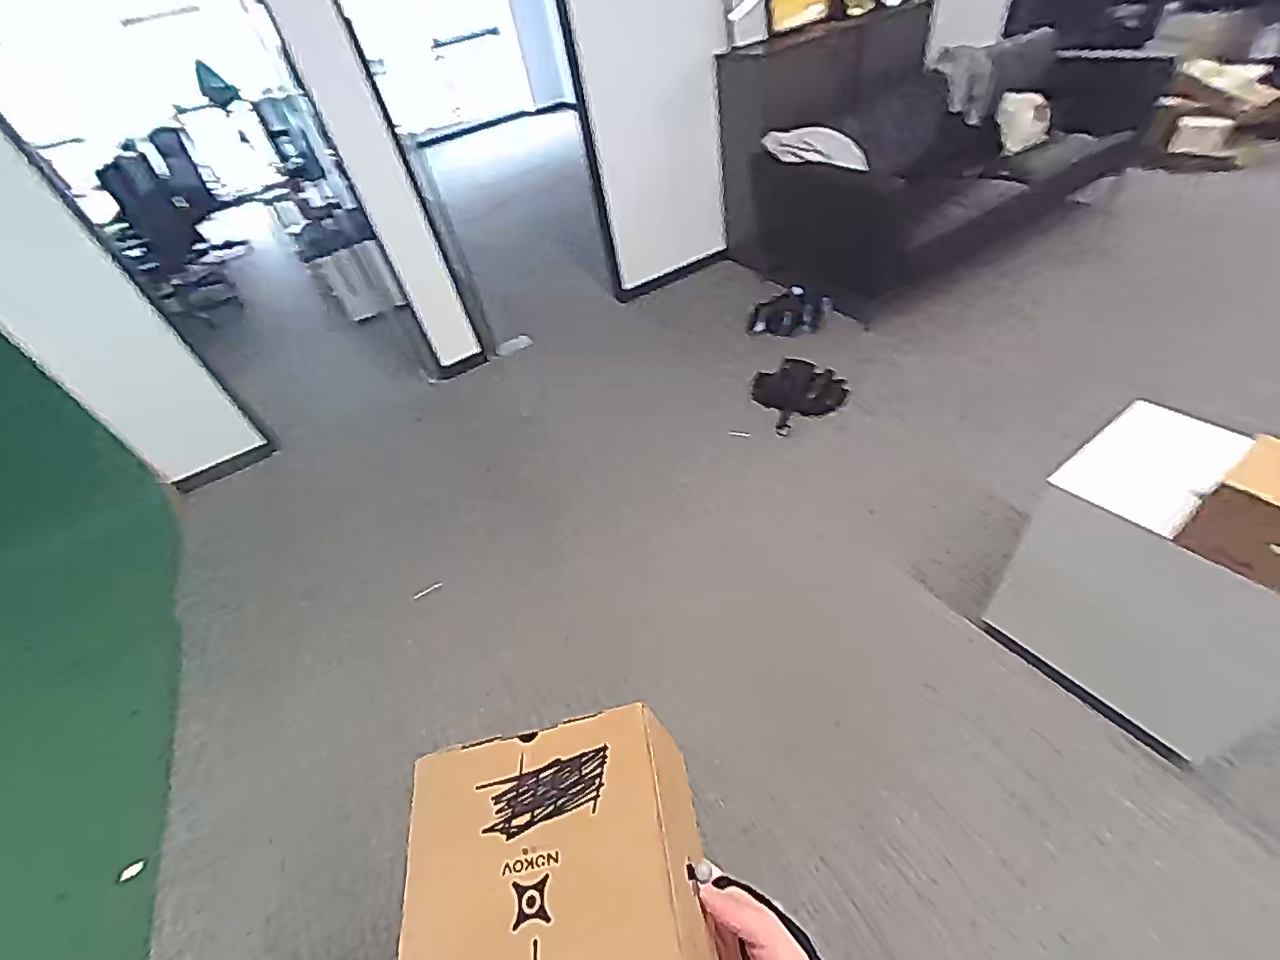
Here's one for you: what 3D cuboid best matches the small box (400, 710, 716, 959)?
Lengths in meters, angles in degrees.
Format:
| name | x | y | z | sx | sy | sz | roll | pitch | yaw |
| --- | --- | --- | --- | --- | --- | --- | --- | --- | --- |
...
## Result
| name | x | y | z | sx | sy | sz | roll | pitch | yaw |
| --- | --- | --- | --- | --- | --- | --- | --- | --- | --- |
| small box | -0.046 | 0.290 | 0.383 | 0.168 | 0.176 | 0.179 | -14 | 50 | 5 |

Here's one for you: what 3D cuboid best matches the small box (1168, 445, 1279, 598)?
| name | x | y | z | sx | sy | sz | roll | pitch | yaw |
| --- | --- | --- | --- | --- | --- | --- | --- | --- | --- |
| small box | 1.102 | 0.075 | 0.960 | 0.179 | 0.176 | 0.168 | -30 | 47 | -21 |
